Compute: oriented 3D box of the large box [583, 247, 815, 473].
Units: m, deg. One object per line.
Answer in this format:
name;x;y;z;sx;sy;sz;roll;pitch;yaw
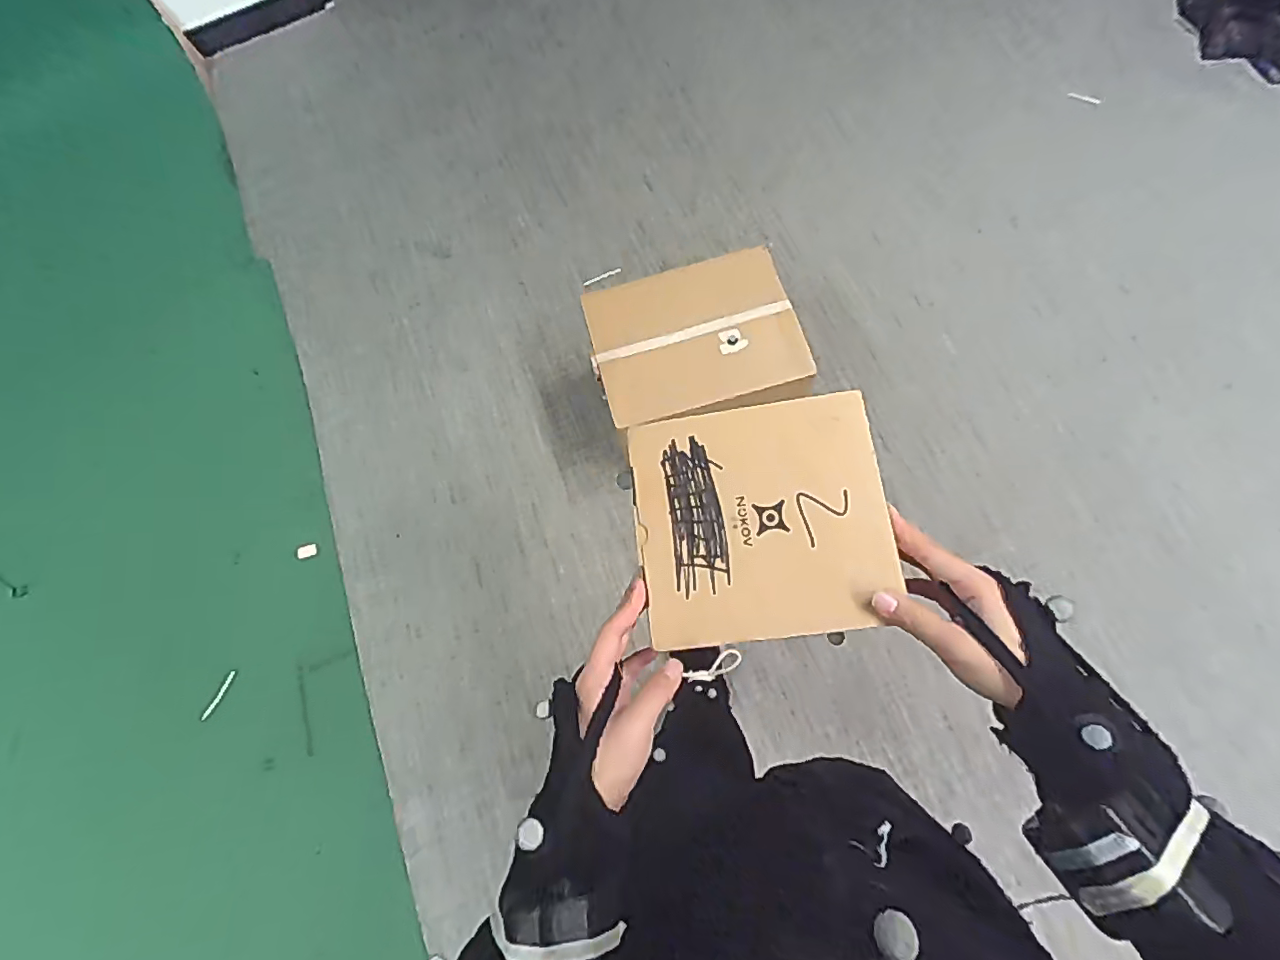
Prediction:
large box;0.120;-0.248;1.220;0.408;0.320;0.320;-16;74;0
